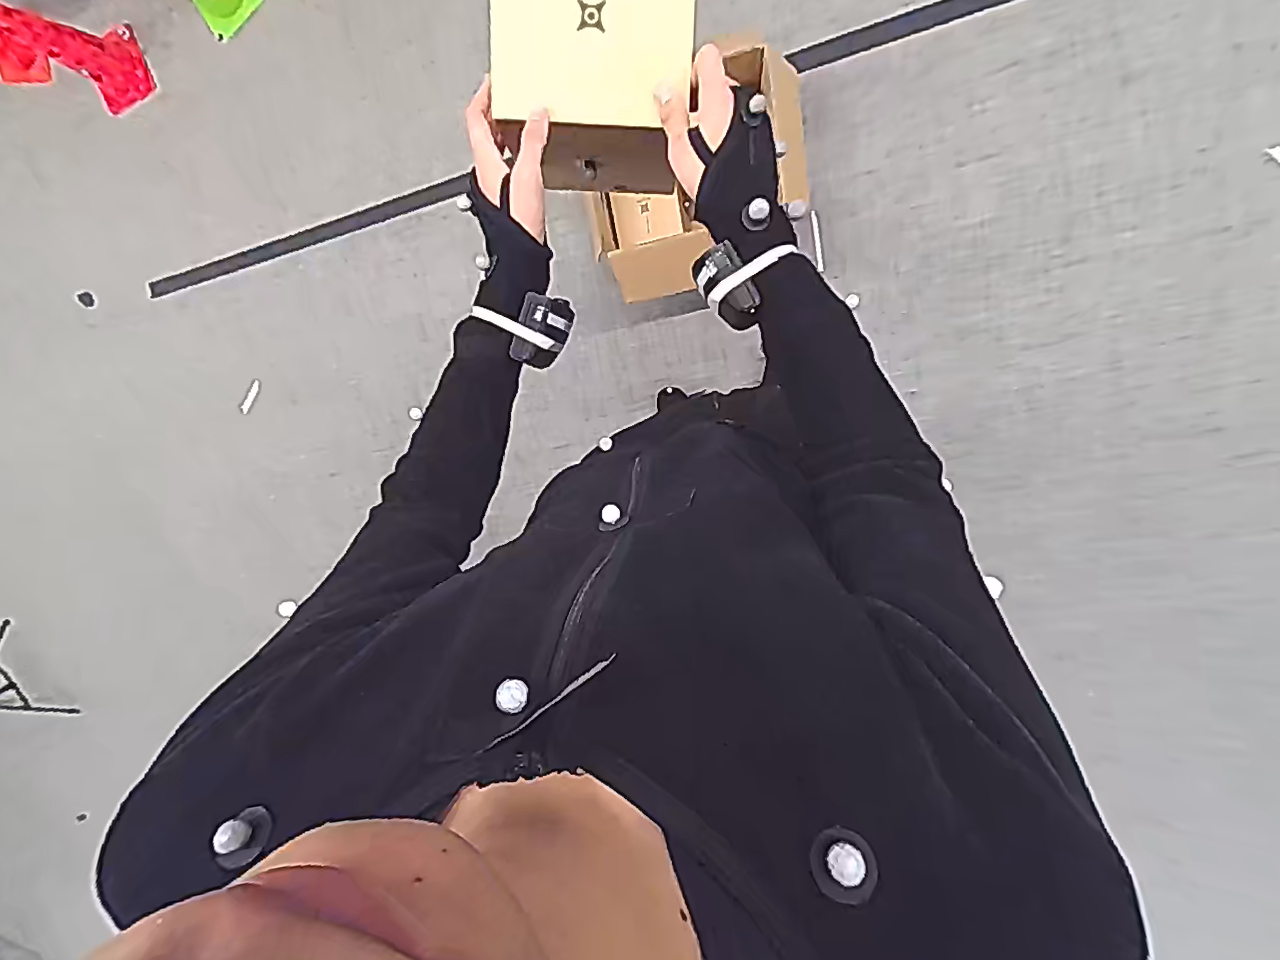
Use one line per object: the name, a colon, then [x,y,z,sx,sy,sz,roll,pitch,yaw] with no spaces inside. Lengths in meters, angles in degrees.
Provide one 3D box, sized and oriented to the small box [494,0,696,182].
small box: [-0.035,-0.404,0.513,0.168,0.176,0.179,2,101,-1]
